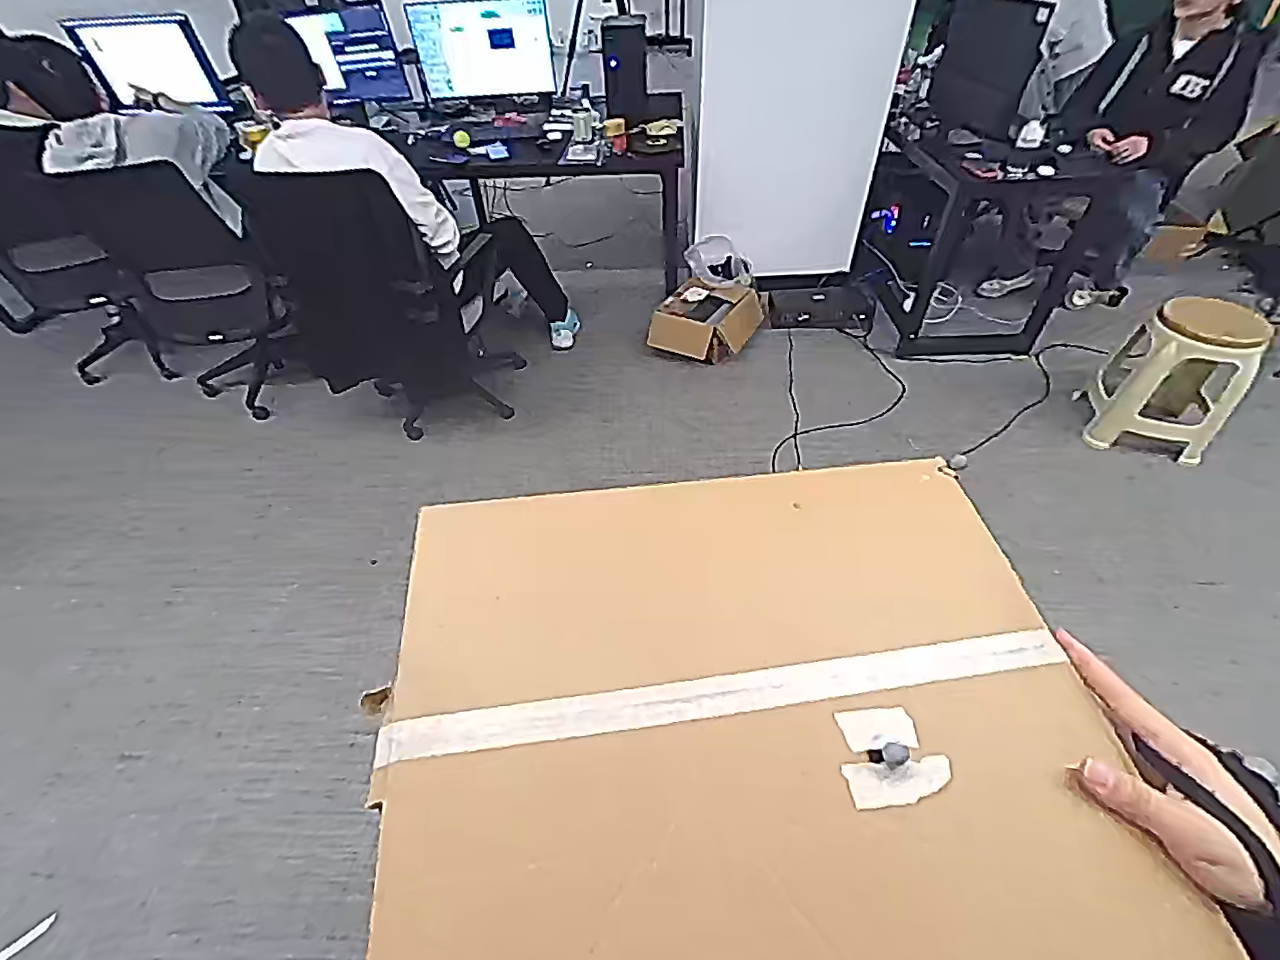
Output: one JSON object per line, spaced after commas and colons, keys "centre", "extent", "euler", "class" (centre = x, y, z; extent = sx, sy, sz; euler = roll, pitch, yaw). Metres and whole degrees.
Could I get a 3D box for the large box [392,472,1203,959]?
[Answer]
{"centre": [0.056, 0.224, 0.448], "extent": [0.408, 0.320, 0.320], "euler": [-5, 54, -7], "class": "large box"}
